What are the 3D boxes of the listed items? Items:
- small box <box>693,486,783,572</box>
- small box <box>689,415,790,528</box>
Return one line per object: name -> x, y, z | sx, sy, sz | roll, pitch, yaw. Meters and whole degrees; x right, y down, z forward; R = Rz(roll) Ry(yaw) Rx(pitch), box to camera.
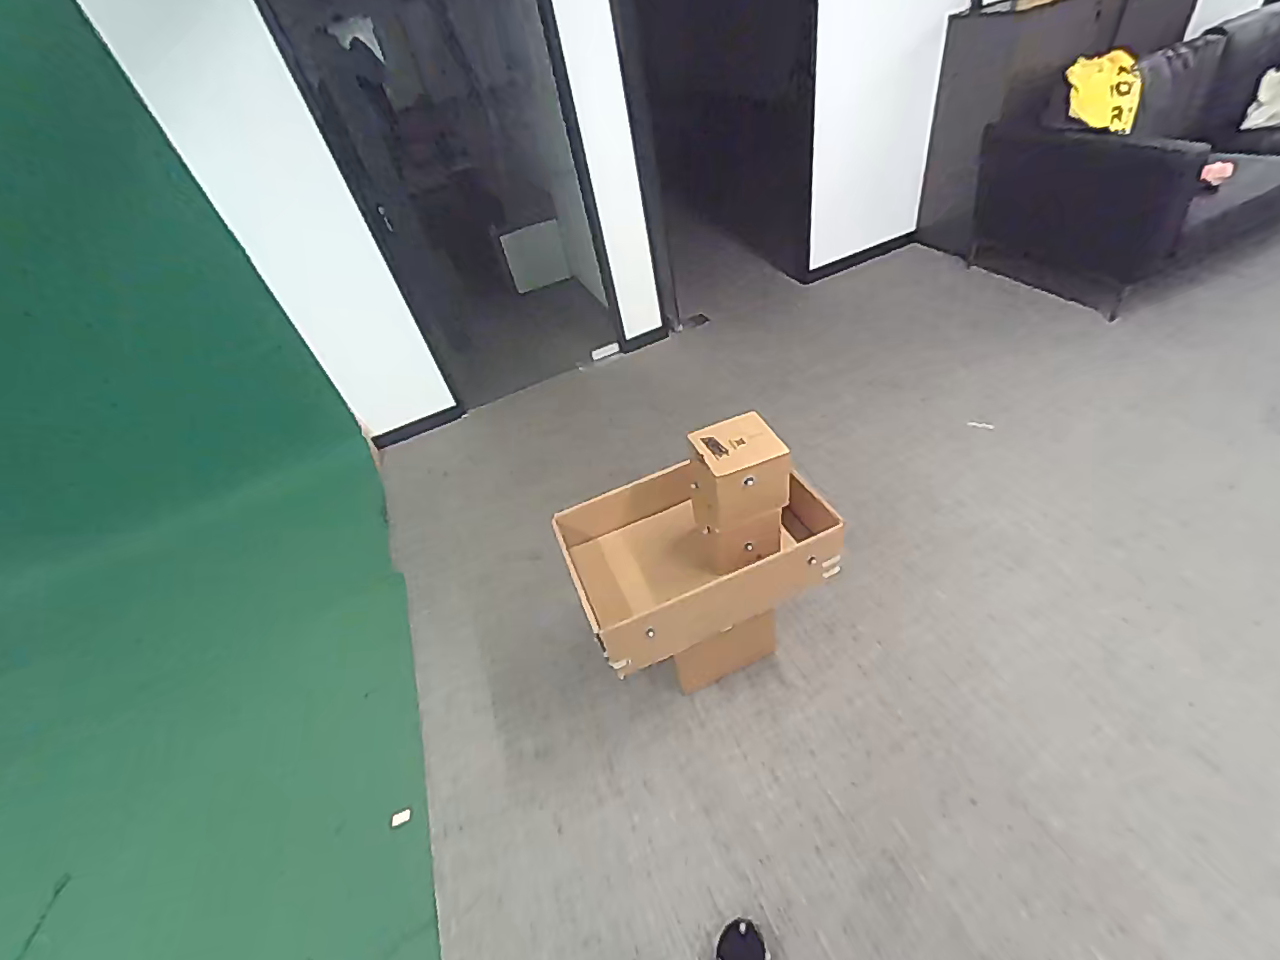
small box -> 0.245, 0.107, 1.347 | 0.168, 0.176, 0.179 | -18, 42, -6
small box -> 0.230, -0.016, 1.238 | 0.179, 0.176, 0.168 | -19, 42, -7
